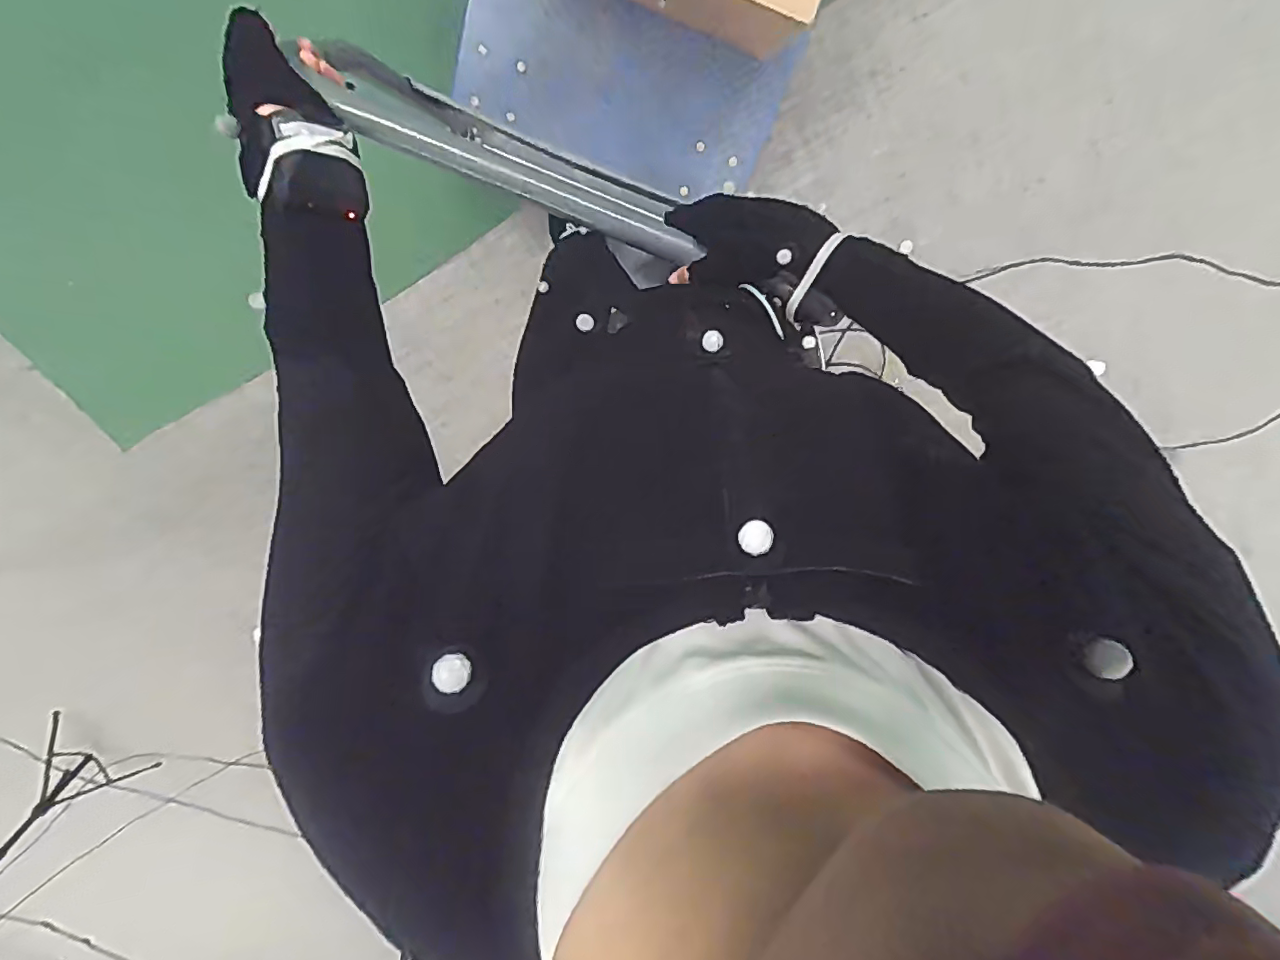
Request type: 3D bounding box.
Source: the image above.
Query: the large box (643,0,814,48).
[{"bbox_3d":[0.083,-0.866,0.742,0.408,0.320,0.320,16,120,-8],"label":"large box"}]
